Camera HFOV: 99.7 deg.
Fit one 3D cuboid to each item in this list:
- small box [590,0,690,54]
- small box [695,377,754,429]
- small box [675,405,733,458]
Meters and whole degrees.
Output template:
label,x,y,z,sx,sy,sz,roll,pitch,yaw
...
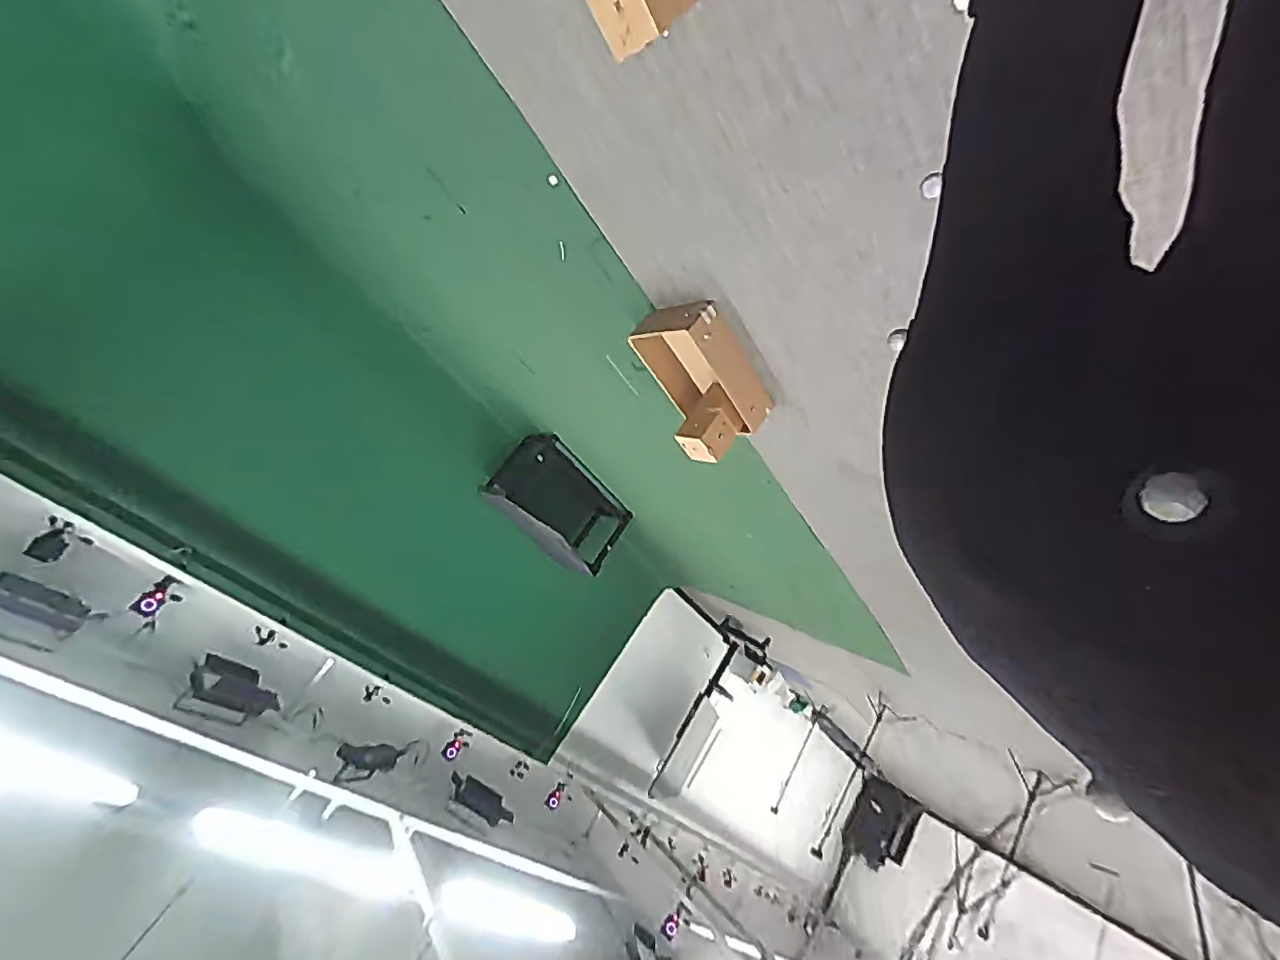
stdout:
label,x,y,z,sx,sy,sz,roll,pitch,yaw
small box,-0.002,-1.178,1.285,0.168,0.176,0.179,15,153,48
small box,0.390,-0.353,2.476,0.168,0.176,0.179,46,158,-30
small box,0.299,-0.222,2.440,0.179,0.176,0.168,12,151,49
